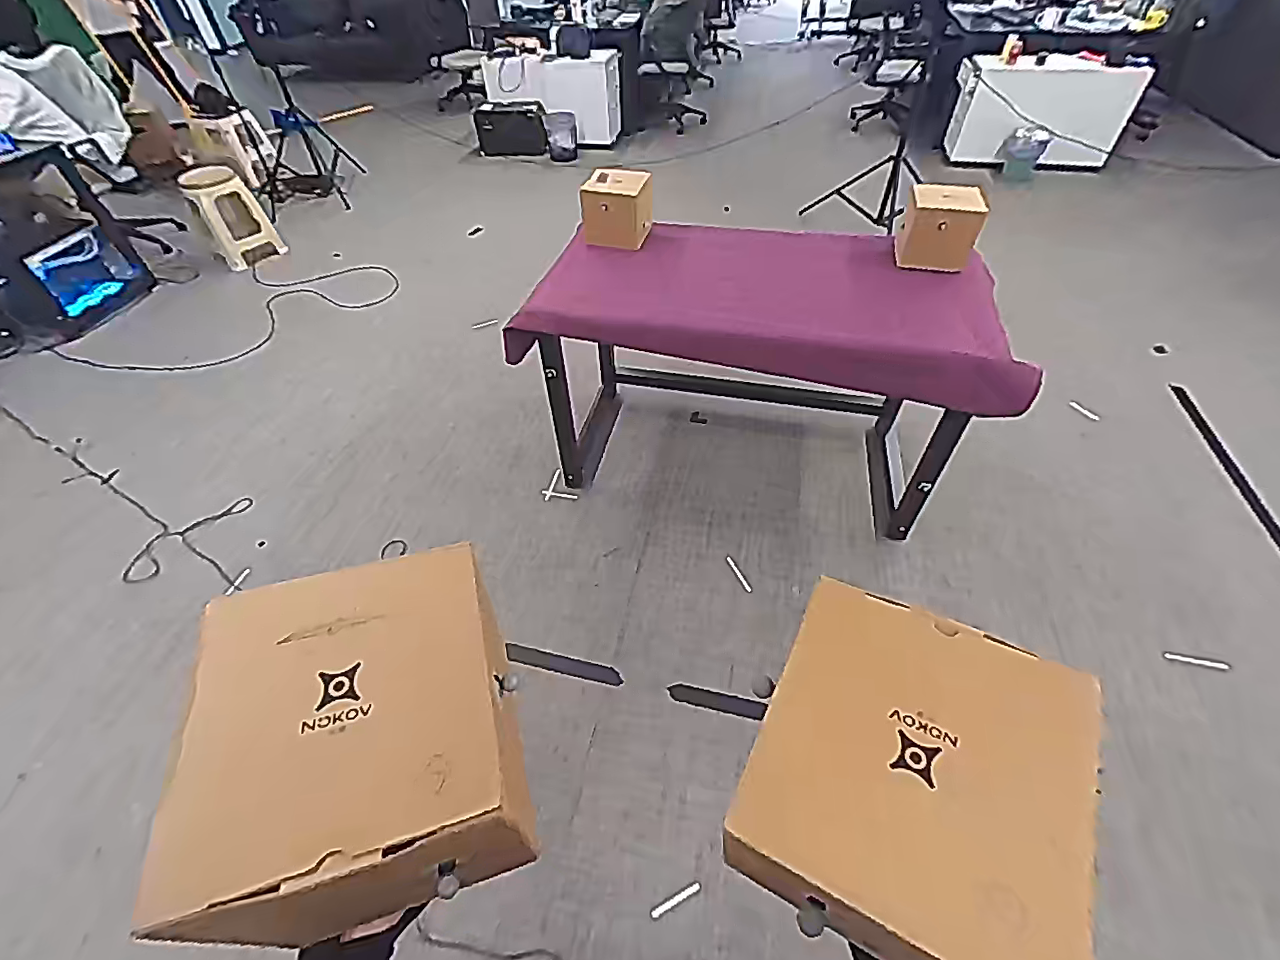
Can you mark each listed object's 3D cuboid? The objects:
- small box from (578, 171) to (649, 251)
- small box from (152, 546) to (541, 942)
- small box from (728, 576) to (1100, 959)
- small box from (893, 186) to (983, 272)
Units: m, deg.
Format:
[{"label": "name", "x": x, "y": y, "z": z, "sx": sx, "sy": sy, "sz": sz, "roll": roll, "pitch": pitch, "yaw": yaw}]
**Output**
[{"label": "small box", "x": -0.077, "y": -0.830, "z": 1.672, "sx": 0.179, "sy": 0.176, "sz": 0.168, "roll": 12, "pitch": 51, "yaw": 11}, {"label": "small box", "x": -0.169, "y": 0.177, "z": 0.369, "sx": 0.168, "sy": 0.176, "sz": 0.179, "roll": -12, "pitch": 49, "yaw": -15}, {"label": "small box", "x": 0.170, "y": 0.203, "z": 0.366, "sx": 0.168, "sy": 0.176, "sz": 0.179, "roll": 18, "pitch": 54, "yaw": 23}, {"label": "small box", "x": 0.826, "y": -0.707, "z": 1.524, "sx": 0.179, "sy": 0.176, "sz": 0.168, "roll": 10, "pitch": 50, "yaw": 10}]
